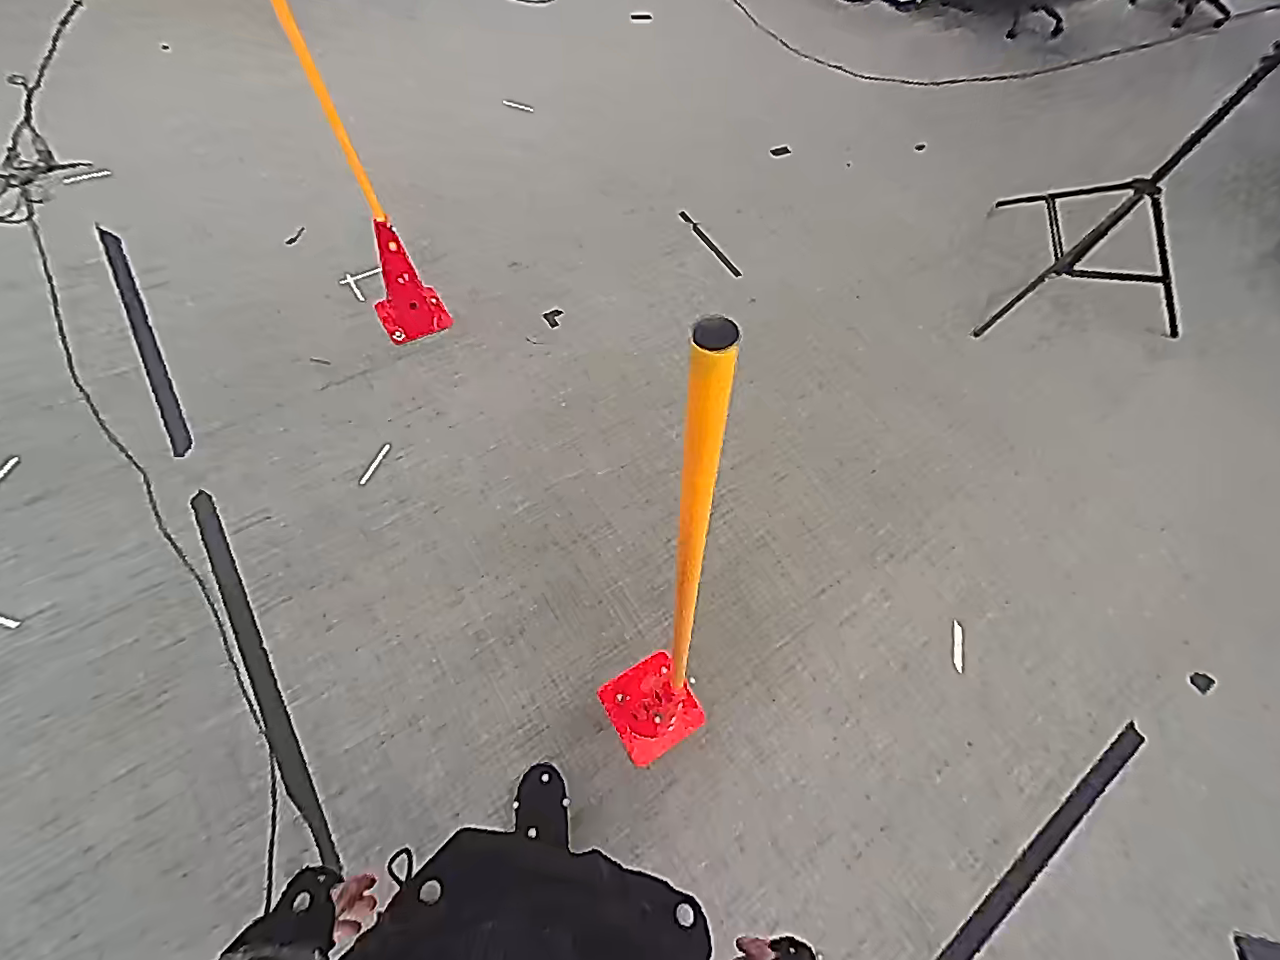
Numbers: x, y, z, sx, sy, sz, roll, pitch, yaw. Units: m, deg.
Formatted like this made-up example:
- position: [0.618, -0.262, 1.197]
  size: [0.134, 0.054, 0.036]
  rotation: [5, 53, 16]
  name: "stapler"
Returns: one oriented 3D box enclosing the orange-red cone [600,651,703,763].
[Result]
- position: [0.047, 0.451, 1.127]
  size: [0.198, 0.360, 0.199]
  rotation: [-25, 68, -19]
  name: "orange-red cone"
